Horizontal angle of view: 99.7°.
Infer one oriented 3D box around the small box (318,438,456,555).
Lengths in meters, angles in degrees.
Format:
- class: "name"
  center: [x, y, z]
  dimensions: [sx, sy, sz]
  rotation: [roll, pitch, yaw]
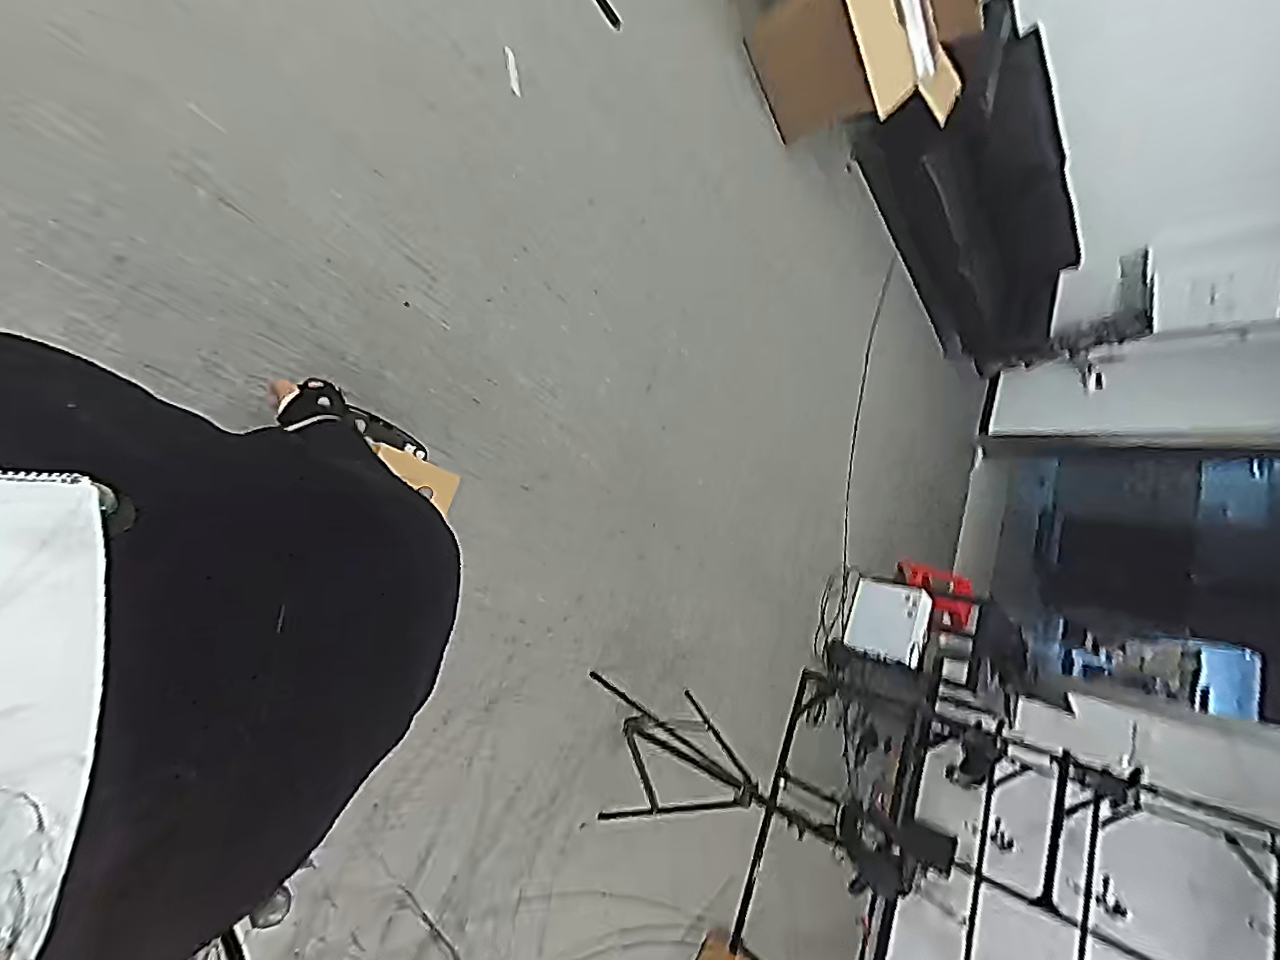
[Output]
- class: "small box"
  center: [-0.497, 0.029, 1.055]
  dimensions: [0.168, 0.176, 0.179]
  rotation: [30, 73, -43]
